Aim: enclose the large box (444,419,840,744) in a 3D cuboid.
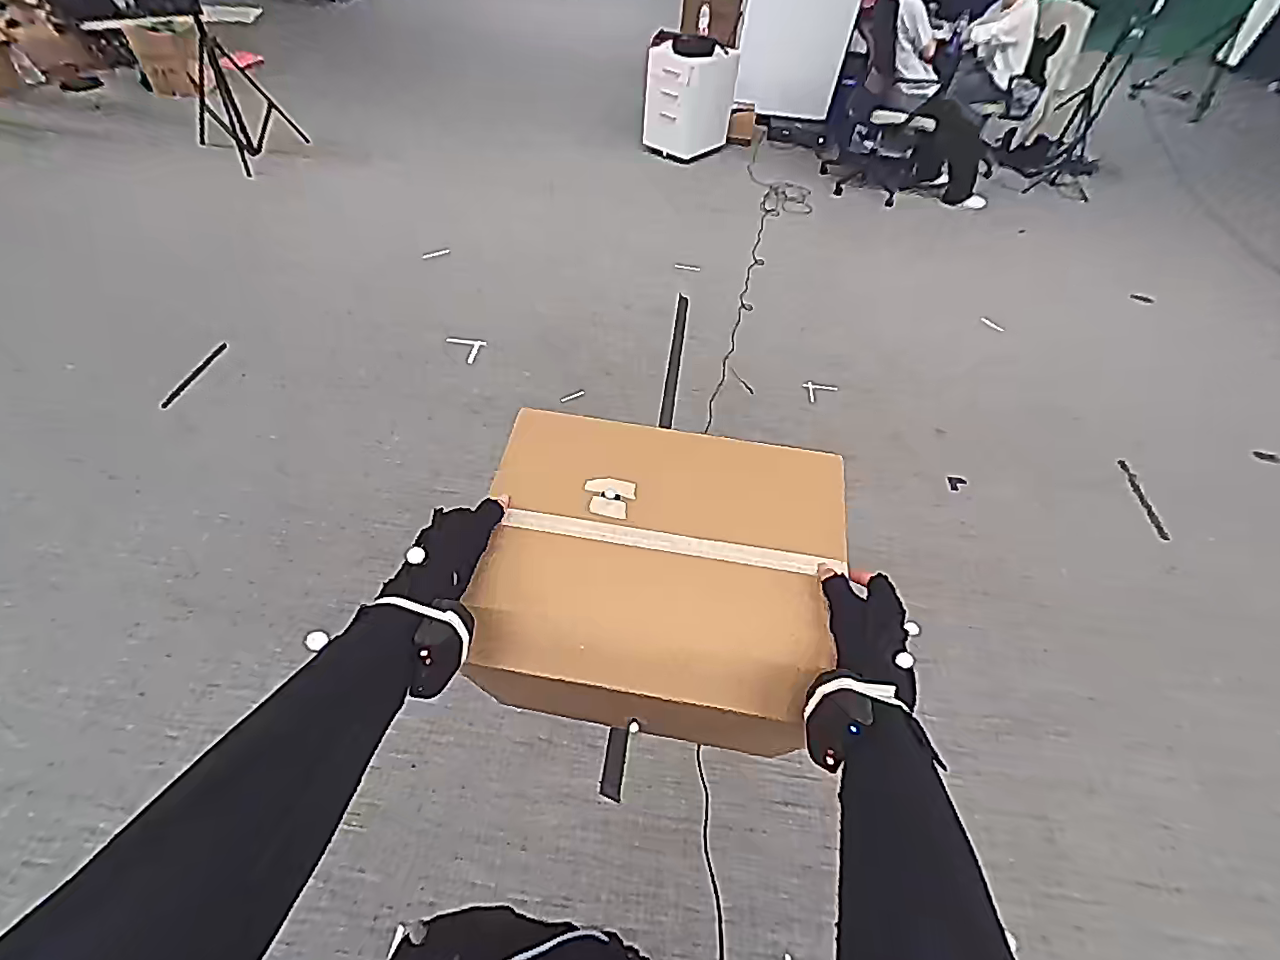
[{"bbox_3d":[0.019,0.151,0.733,0.408,0.320,0.320,9,59,4],"label":"large box"}]
